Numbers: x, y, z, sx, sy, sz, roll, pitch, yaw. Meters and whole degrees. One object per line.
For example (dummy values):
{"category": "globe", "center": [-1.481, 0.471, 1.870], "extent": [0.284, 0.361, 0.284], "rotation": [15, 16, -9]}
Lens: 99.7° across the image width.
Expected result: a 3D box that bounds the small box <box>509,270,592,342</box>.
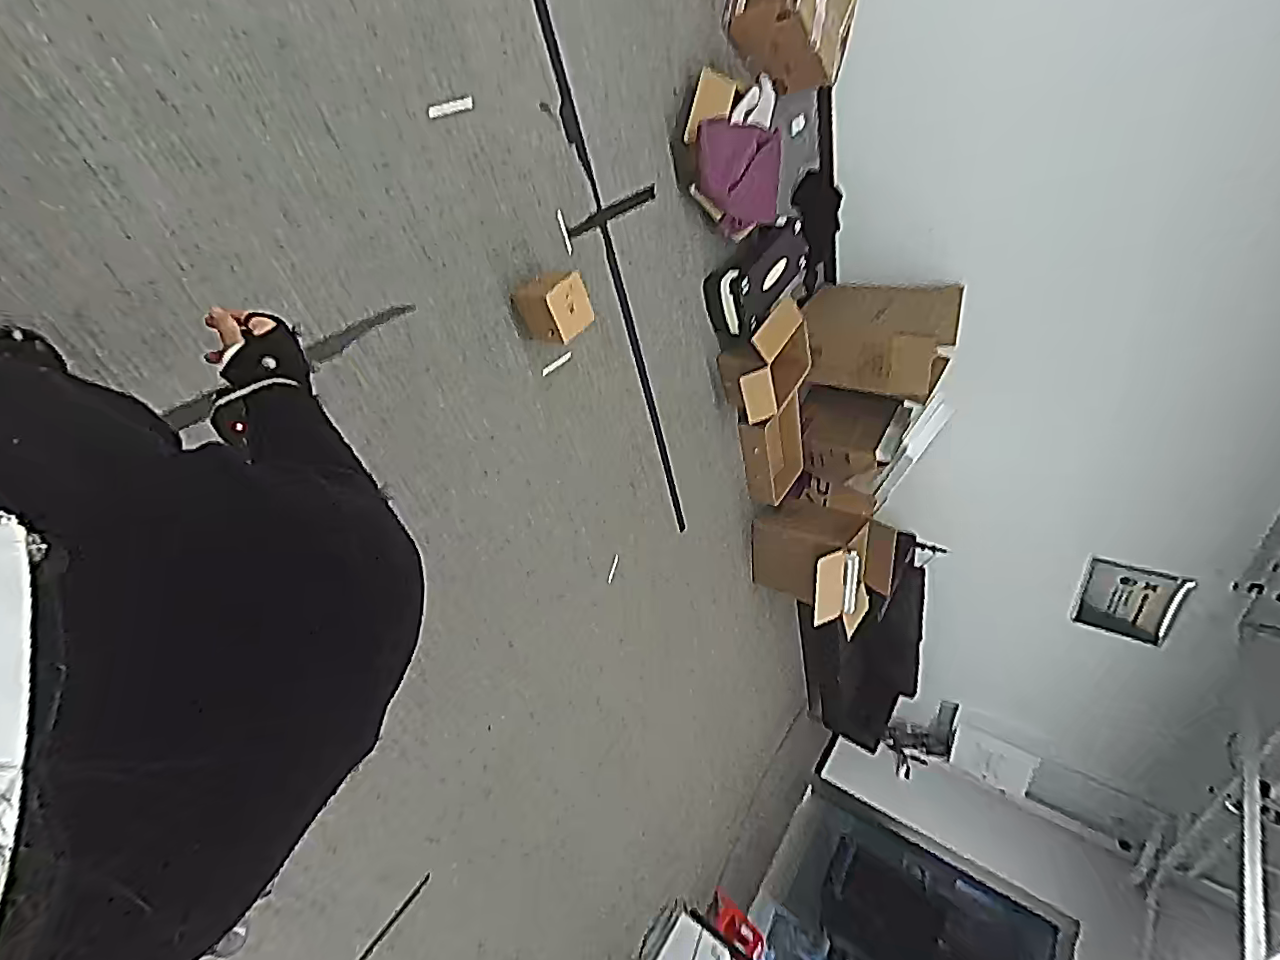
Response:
{"category": "small box", "center": [-0.296, -0.581, 1.791], "extent": [0.168, 0.176, 0.179], "rotation": [-50, 137, -29]}
